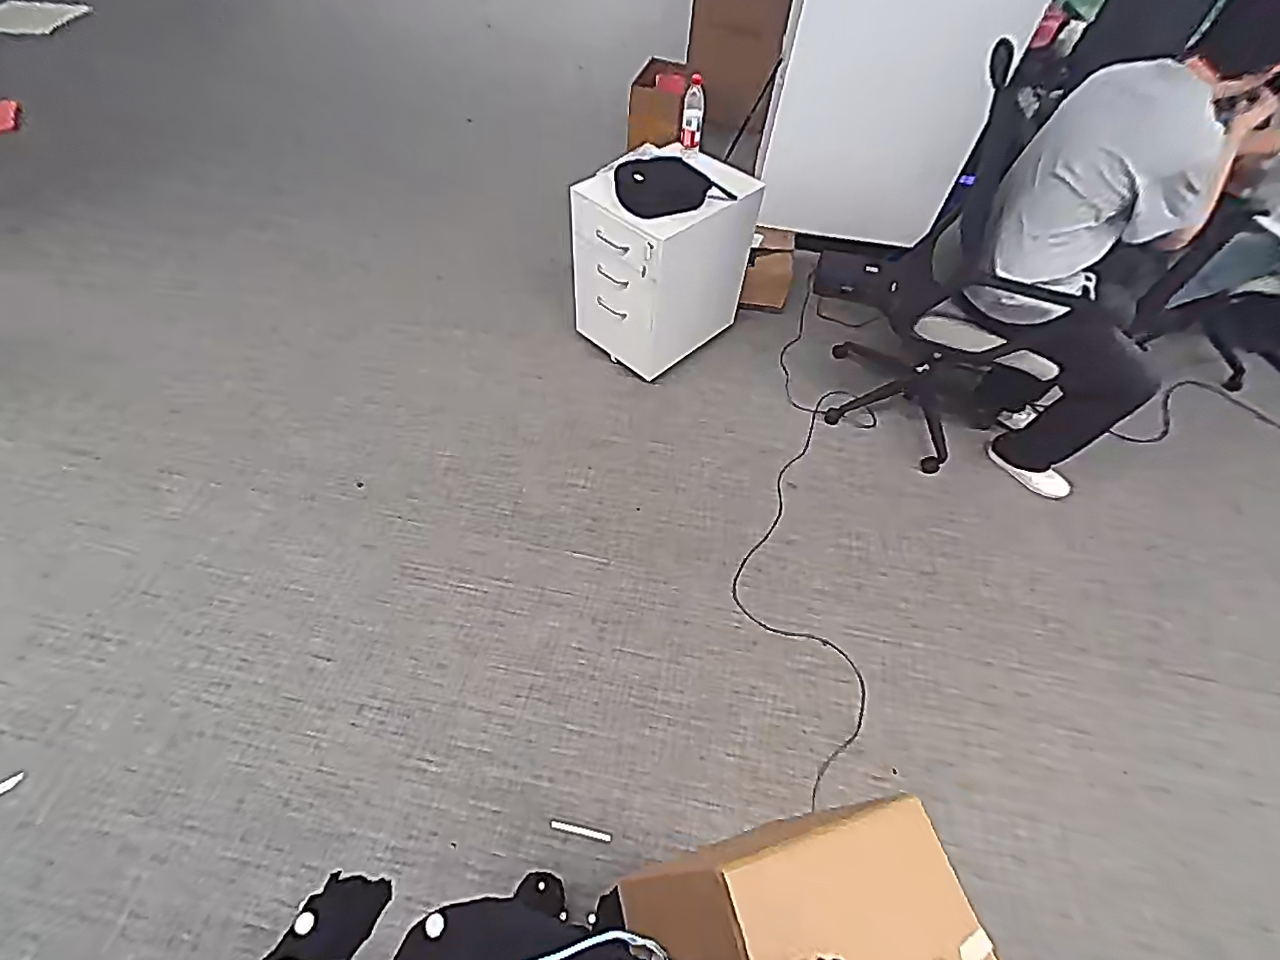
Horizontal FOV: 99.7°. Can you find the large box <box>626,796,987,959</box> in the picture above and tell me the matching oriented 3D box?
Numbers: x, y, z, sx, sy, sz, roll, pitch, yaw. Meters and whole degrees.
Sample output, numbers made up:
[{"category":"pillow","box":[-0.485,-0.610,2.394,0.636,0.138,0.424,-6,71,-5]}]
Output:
[{"category":"large box","box":[0.212,0.672,0.742,0.320,0.408,0.320,-2,55,-23]}]
